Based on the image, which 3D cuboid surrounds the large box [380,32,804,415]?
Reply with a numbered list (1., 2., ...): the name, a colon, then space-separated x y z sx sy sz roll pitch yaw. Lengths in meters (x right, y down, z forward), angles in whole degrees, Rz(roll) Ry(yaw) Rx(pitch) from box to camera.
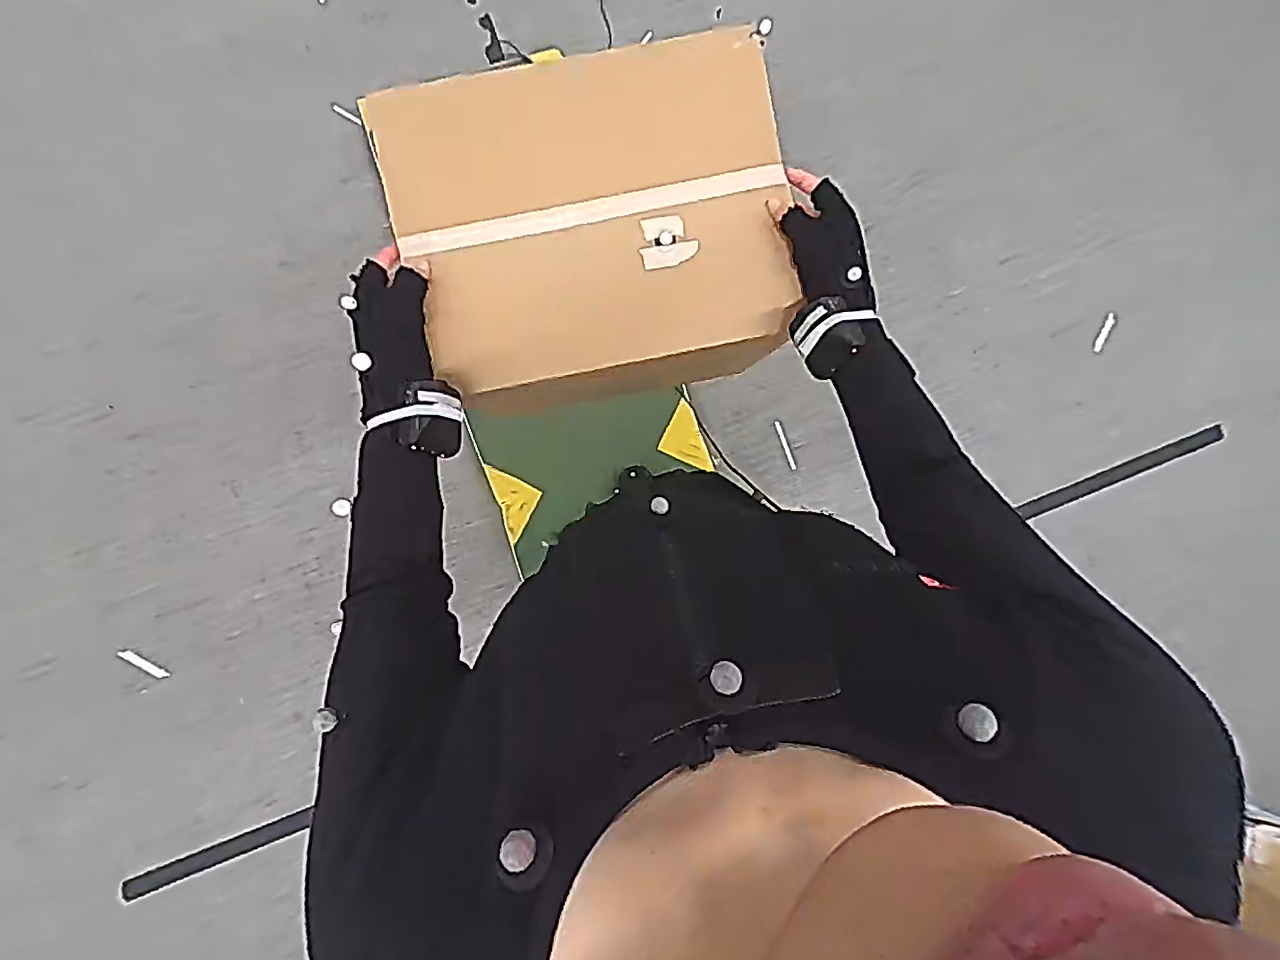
1. large box: -0.054 -0.289 0.720 0.408 0.320 0.320 -12 93 -3
